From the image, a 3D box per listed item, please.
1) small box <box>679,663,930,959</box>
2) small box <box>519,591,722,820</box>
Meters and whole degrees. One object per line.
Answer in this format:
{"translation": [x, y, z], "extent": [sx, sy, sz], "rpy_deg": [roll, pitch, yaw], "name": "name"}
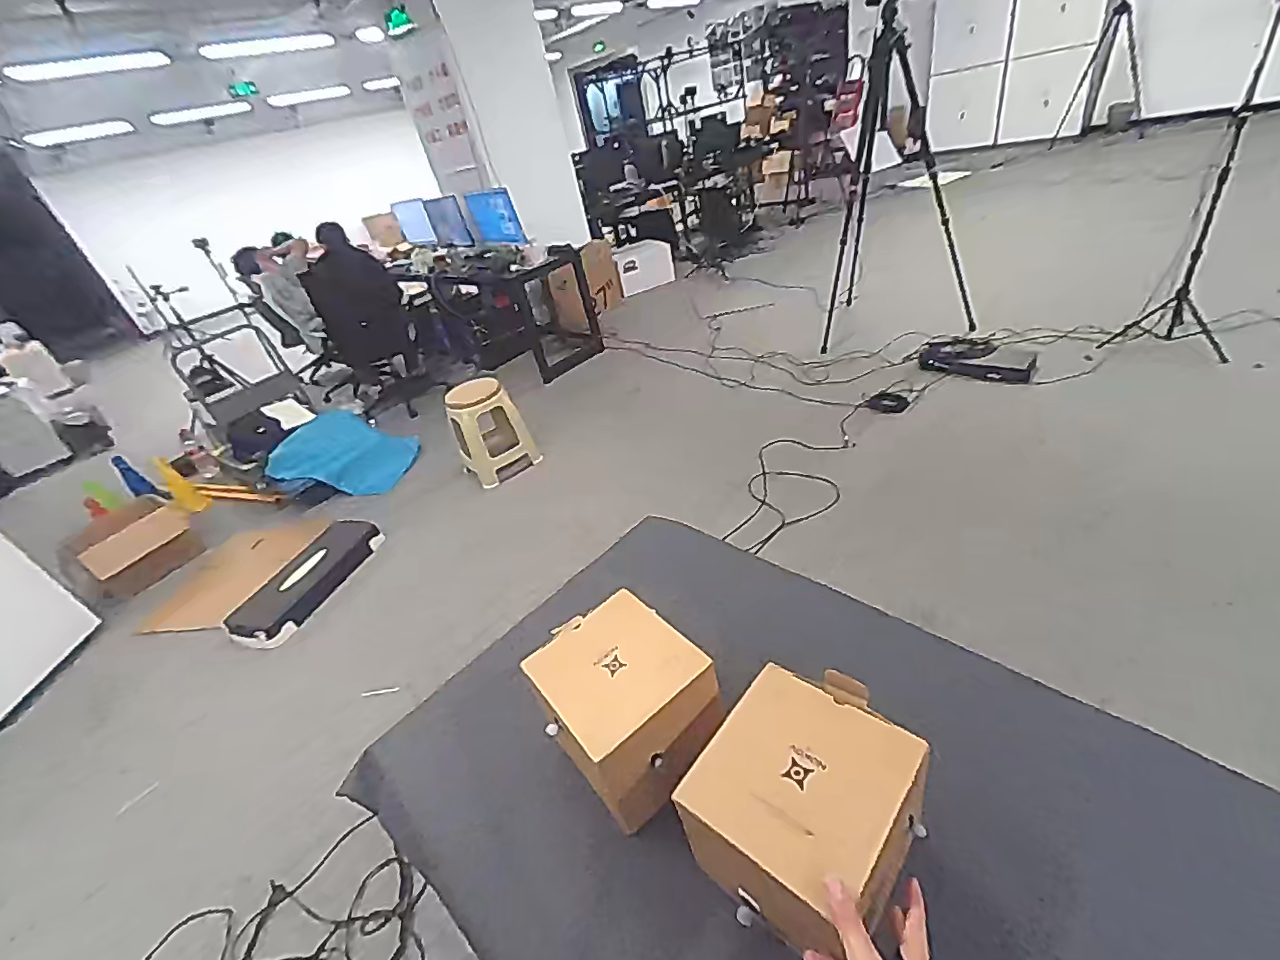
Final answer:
{"translation": [0.163, 0.327, 0.531], "extent": [0.168, 0.176, 0.179], "rpy_deg": [16, 44, 39], "name": "small box"}
{"translation": [-0.016, 0.278, 0.668], "extent": [0.168, 0.176, 0.179], "rpy_deg": [-32, 37, -26], "name": "small box"}
